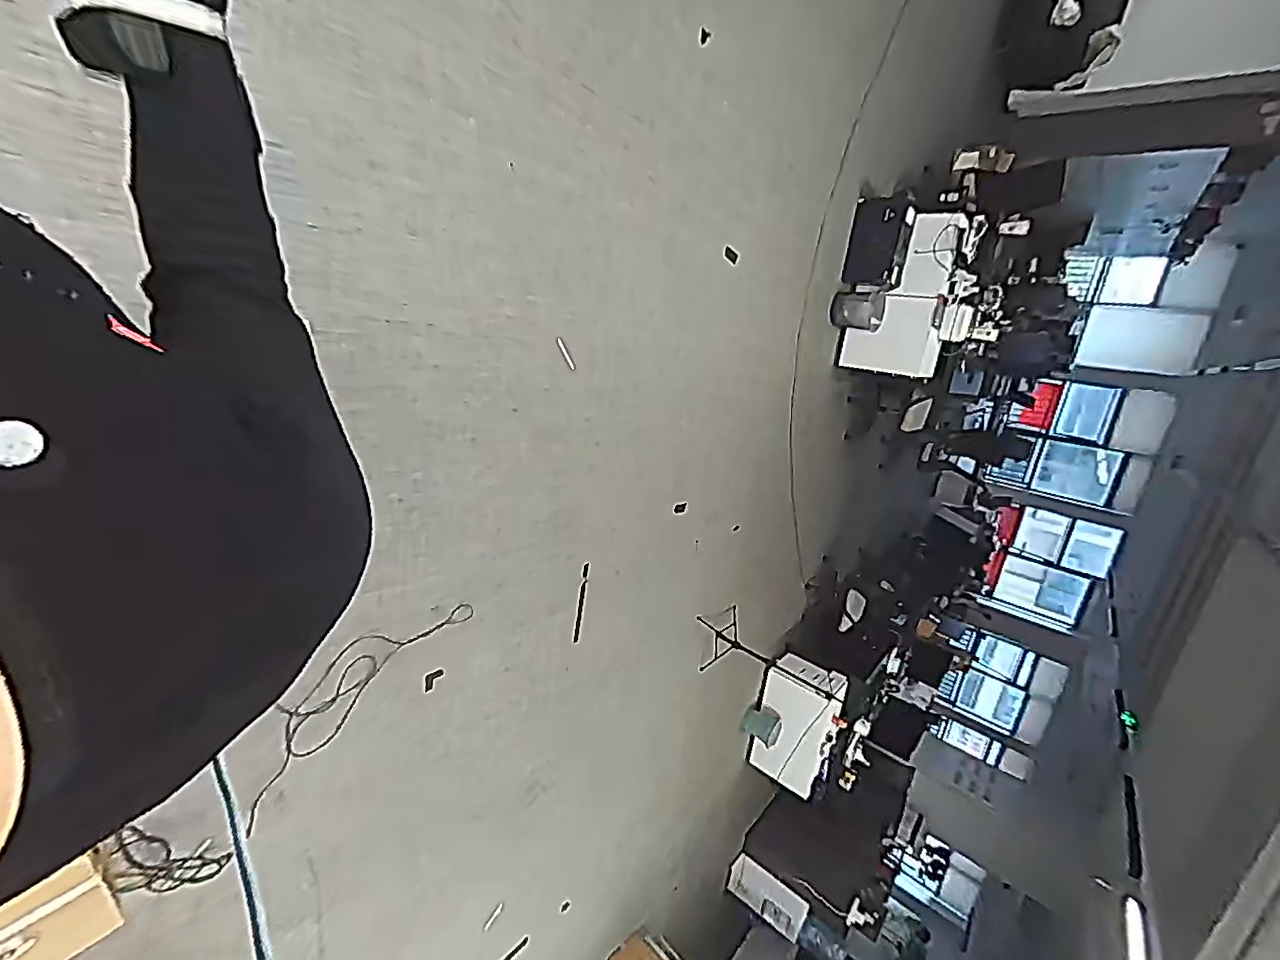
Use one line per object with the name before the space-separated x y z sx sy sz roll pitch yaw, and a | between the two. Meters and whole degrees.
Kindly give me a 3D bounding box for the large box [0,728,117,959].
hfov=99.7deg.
large box | -1.302 0.759 0.991 0.408 0.320 0.320 -22 123 -46
